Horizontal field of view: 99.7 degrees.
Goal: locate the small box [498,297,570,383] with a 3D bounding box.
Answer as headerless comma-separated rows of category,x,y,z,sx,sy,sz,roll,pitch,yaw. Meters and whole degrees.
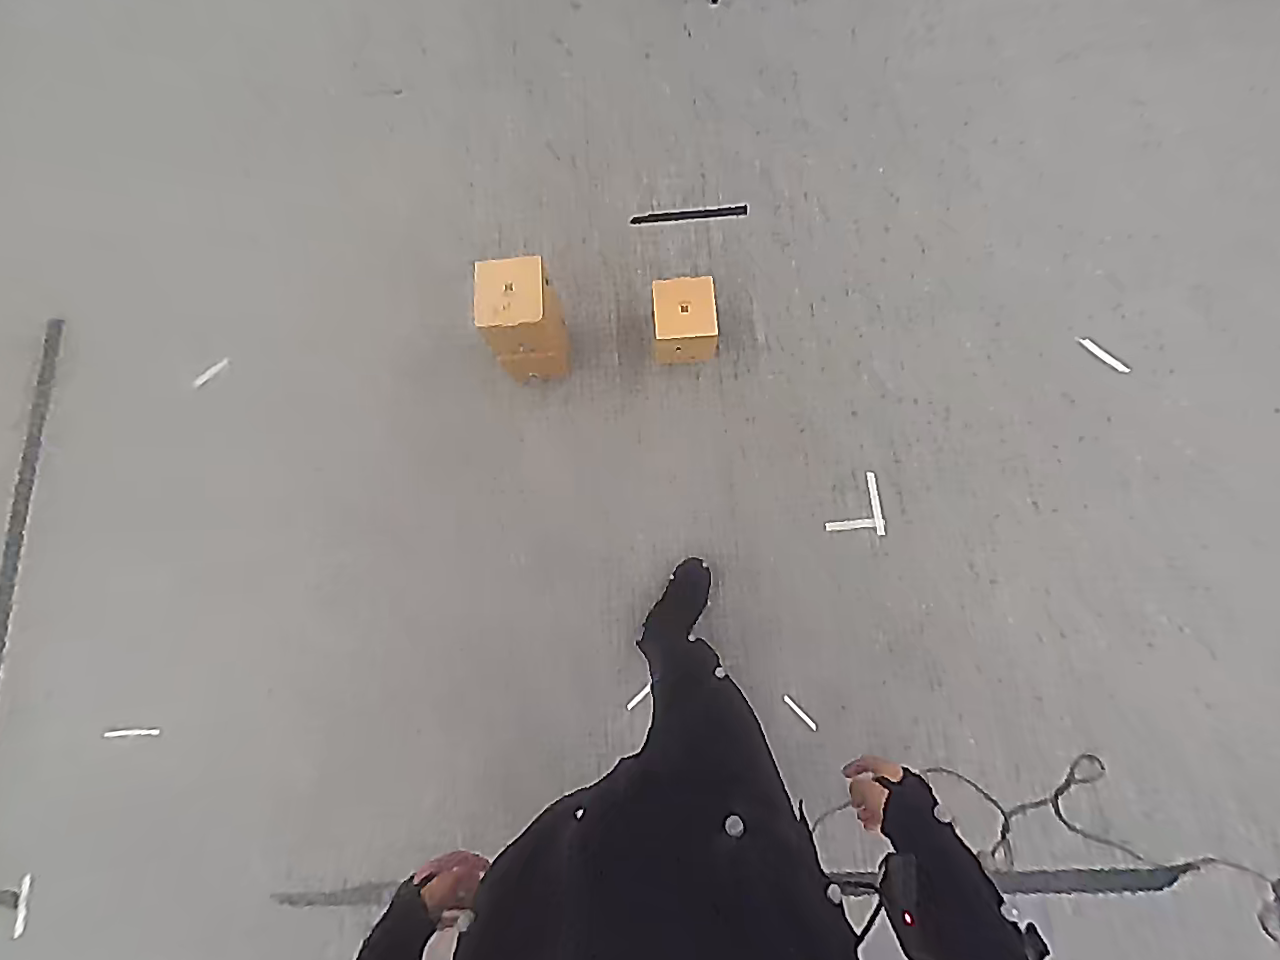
small box,-0.294,-0.392,1.526,0.168,0.176,0.179,-4,78,3

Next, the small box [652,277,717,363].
small box,0.122,-0.440,1.517,0.168,0.176,0.179,-4,77,2

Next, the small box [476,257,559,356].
small box,-0.304,-0.434,1.368,0.168,0.176,0.179,-4,78,4
